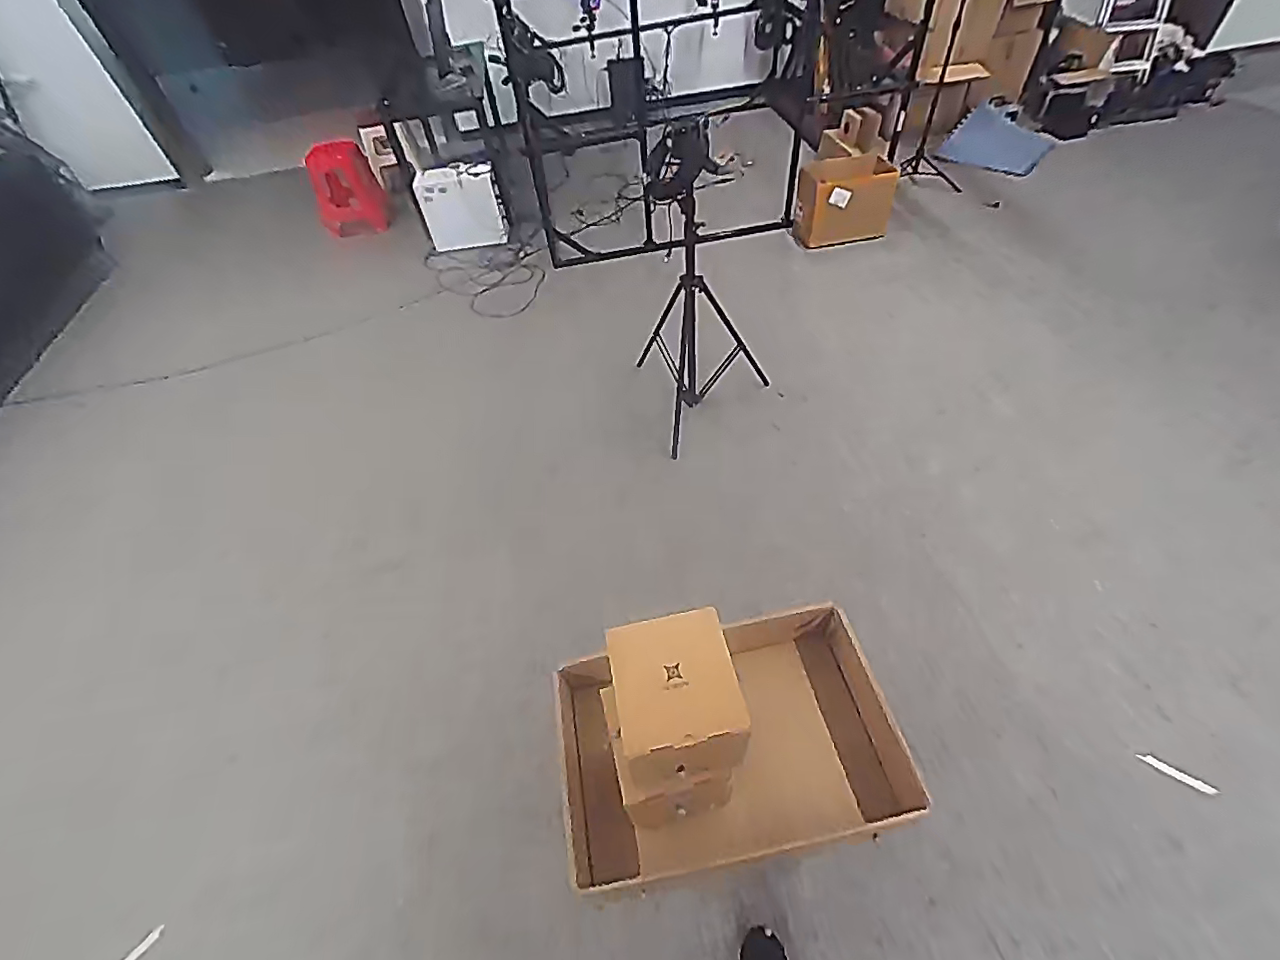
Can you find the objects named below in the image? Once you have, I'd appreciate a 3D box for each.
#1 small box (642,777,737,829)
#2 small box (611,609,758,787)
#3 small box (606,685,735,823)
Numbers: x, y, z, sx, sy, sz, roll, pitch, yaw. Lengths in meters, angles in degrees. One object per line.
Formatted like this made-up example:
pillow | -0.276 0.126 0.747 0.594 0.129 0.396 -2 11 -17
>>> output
small box | 0.067 0.536 1.026 0.179 0.176 0.168 -16 50 -7
small box | 0.057 0.317 0.784 0.168 0.176 0.179 -12 50 -5
small box | 0.046 0.438 0.896 0.168 0.176 0.179 -14 50 -6
